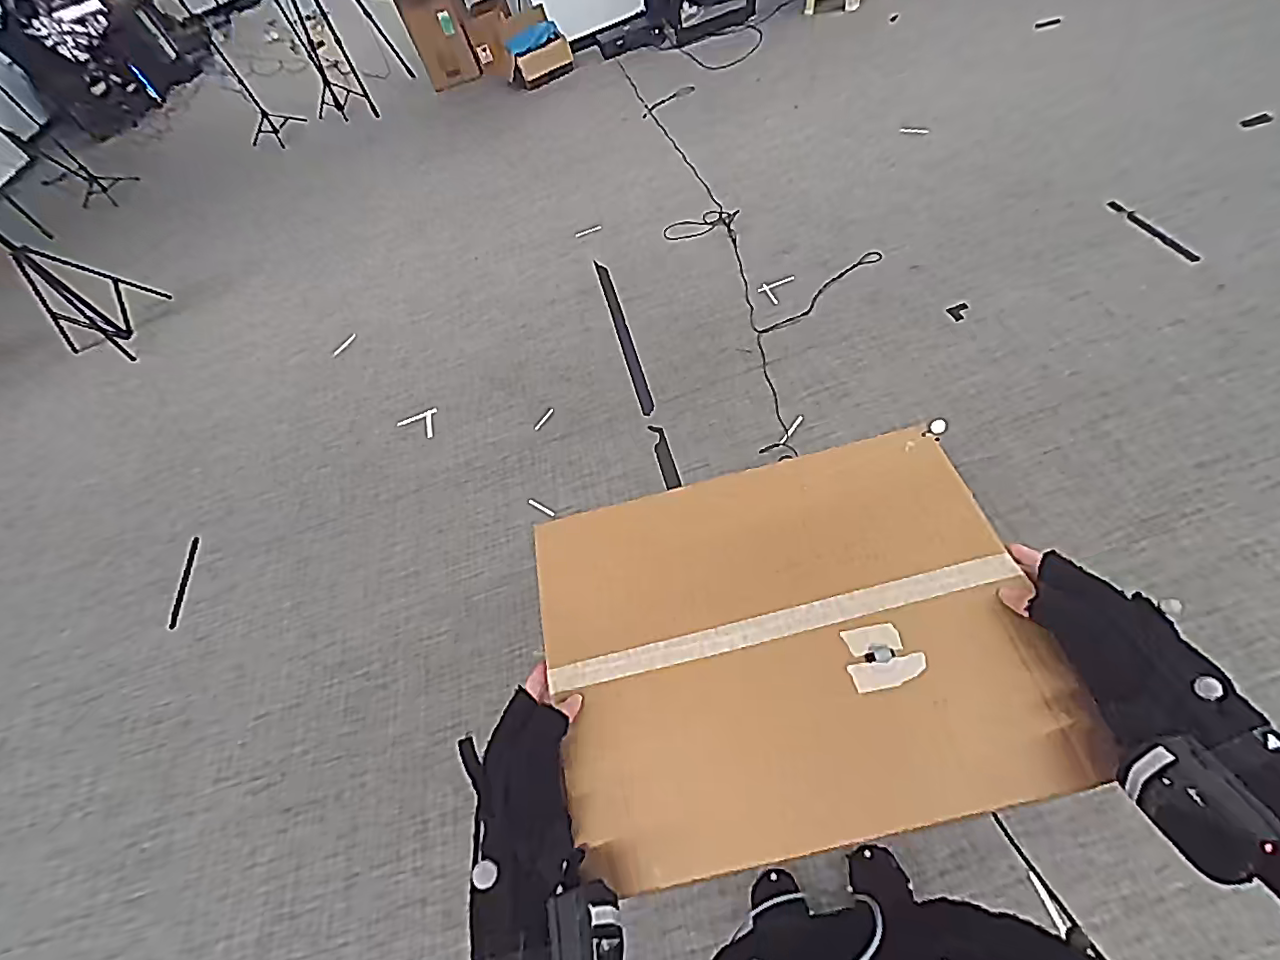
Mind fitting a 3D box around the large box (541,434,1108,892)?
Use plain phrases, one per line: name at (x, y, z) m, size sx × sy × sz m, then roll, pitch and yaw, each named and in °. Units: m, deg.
large box at (0.140, 0.205, 0.597) m, size 0.408 × 0.320 × 0.320 m, roll -15°, pitch 57°, yaw 1°
